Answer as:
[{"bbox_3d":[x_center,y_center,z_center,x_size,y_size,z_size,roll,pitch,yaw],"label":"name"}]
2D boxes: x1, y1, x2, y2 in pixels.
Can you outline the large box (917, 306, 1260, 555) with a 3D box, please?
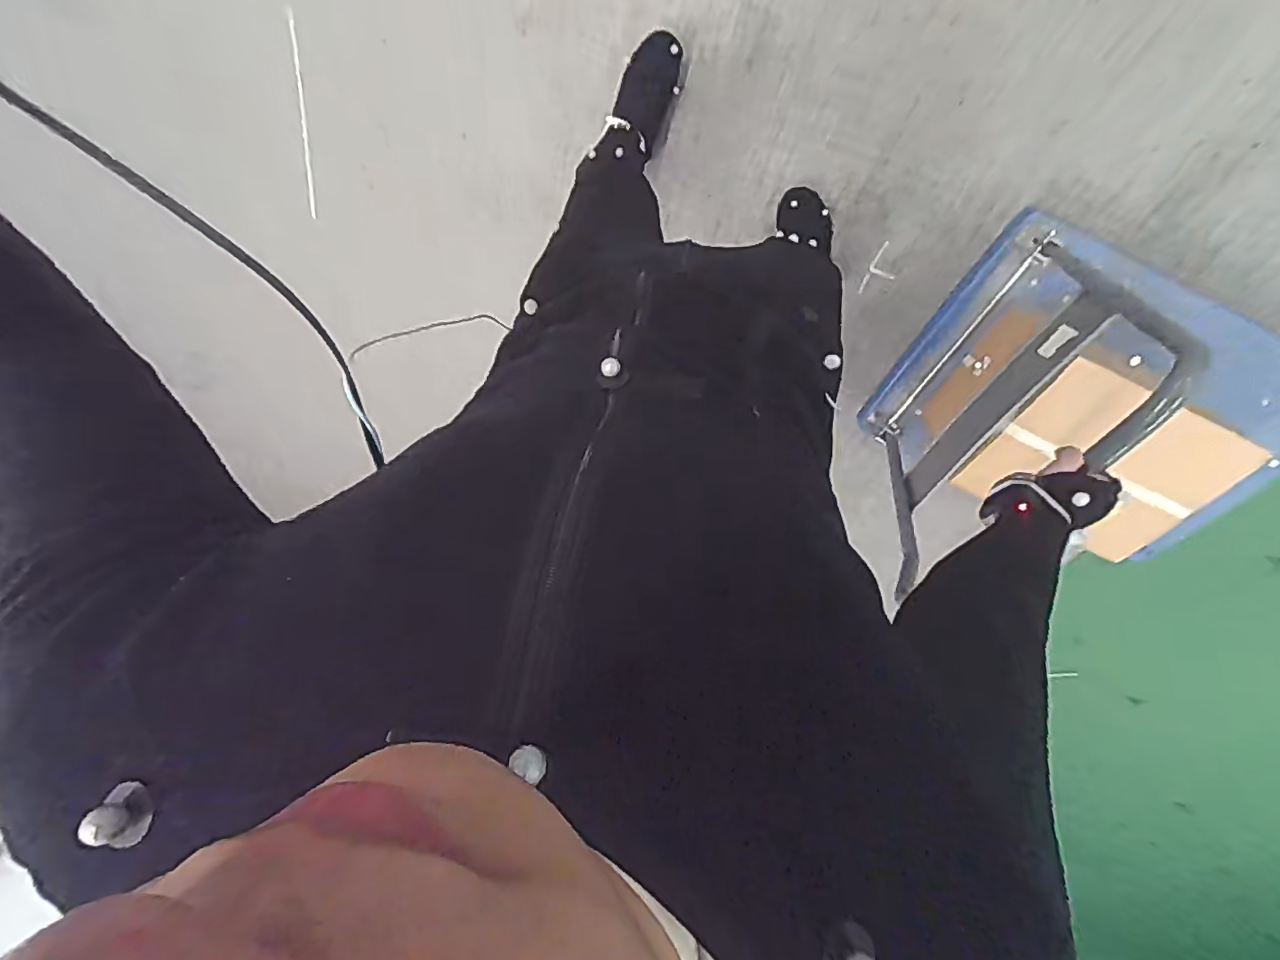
[{"bbox_3d":[0.887,-0.113,1.147,0.408,0.320,0.320,25,128,-3],"label":"large box"}]
